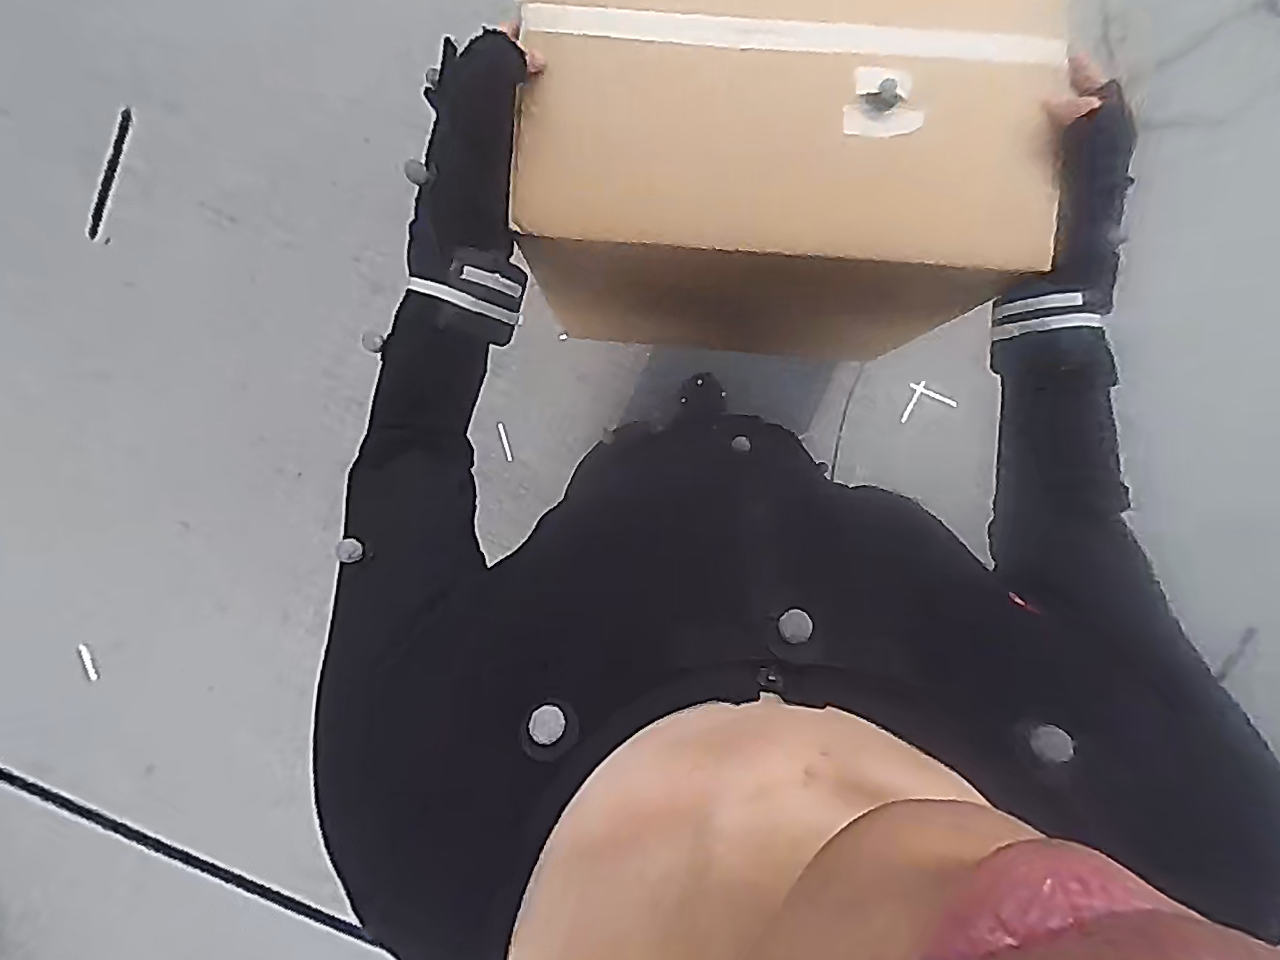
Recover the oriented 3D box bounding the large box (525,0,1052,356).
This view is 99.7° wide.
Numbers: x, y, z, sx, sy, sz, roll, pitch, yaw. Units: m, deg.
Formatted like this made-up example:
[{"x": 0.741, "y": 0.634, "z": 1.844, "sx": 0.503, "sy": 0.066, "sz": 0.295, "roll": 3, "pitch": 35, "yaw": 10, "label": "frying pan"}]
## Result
[{"x": 0.114, "y": -0.327, "z": 0.568, "sx": 0.408, "sy": 0.320, "sz": 0.320, "roll": 4, "pitch": 90, "yaw": 0, "label": "large box"}]
